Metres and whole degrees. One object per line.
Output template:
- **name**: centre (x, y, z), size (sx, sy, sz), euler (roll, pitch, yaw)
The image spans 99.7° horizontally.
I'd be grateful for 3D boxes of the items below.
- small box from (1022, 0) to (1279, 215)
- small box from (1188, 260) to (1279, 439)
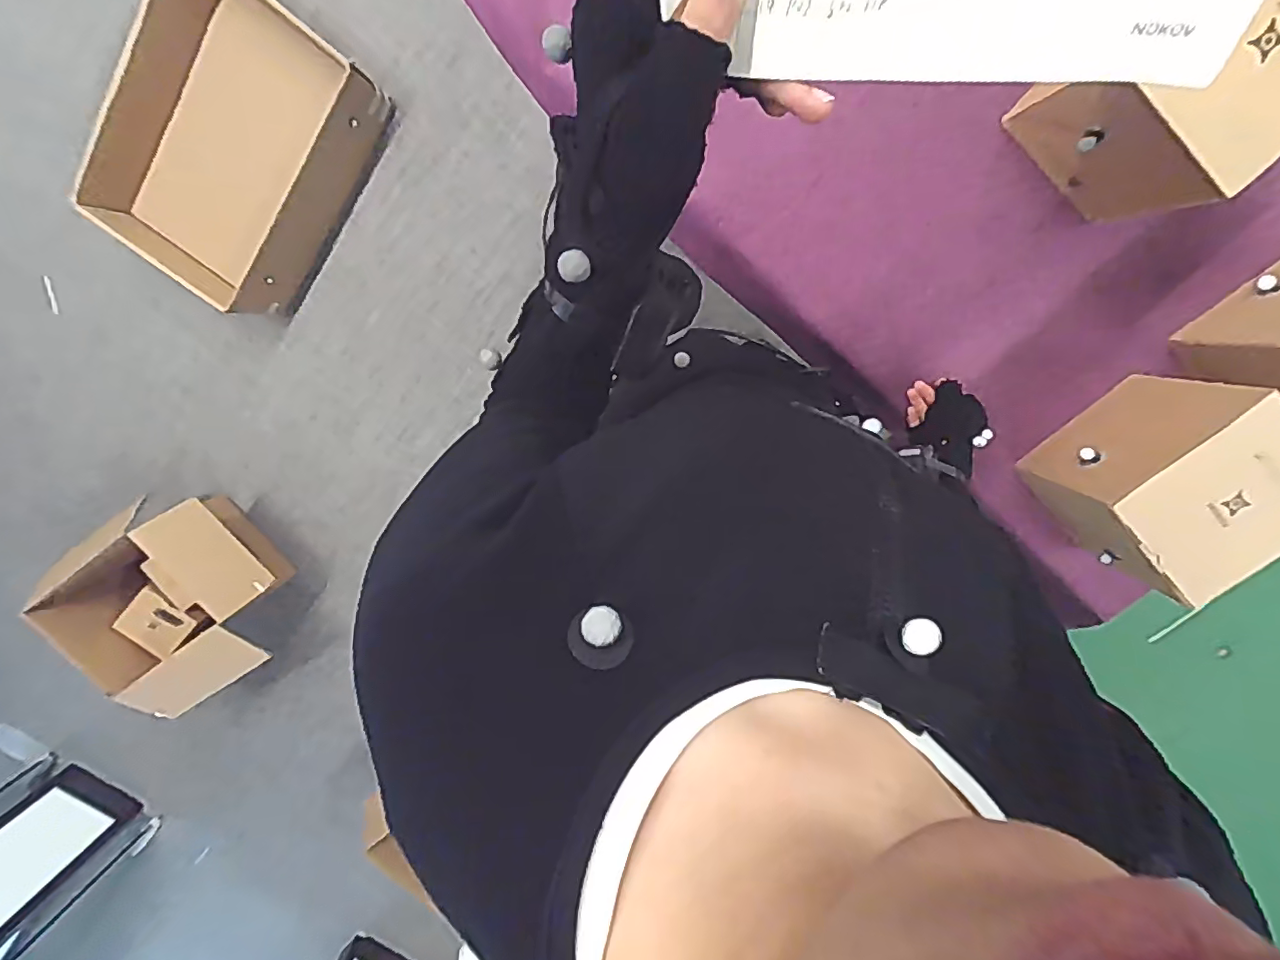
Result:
- **small box**: centre (0.509, -0.383, 0.507), size (0.168, 0.176, 0.179), euler (41, 104, -9)
- **small box**: centre (0.745, -0.144, 0.565), size (0.179, 0.176, 0.168), euler (-40, 101, 14)
